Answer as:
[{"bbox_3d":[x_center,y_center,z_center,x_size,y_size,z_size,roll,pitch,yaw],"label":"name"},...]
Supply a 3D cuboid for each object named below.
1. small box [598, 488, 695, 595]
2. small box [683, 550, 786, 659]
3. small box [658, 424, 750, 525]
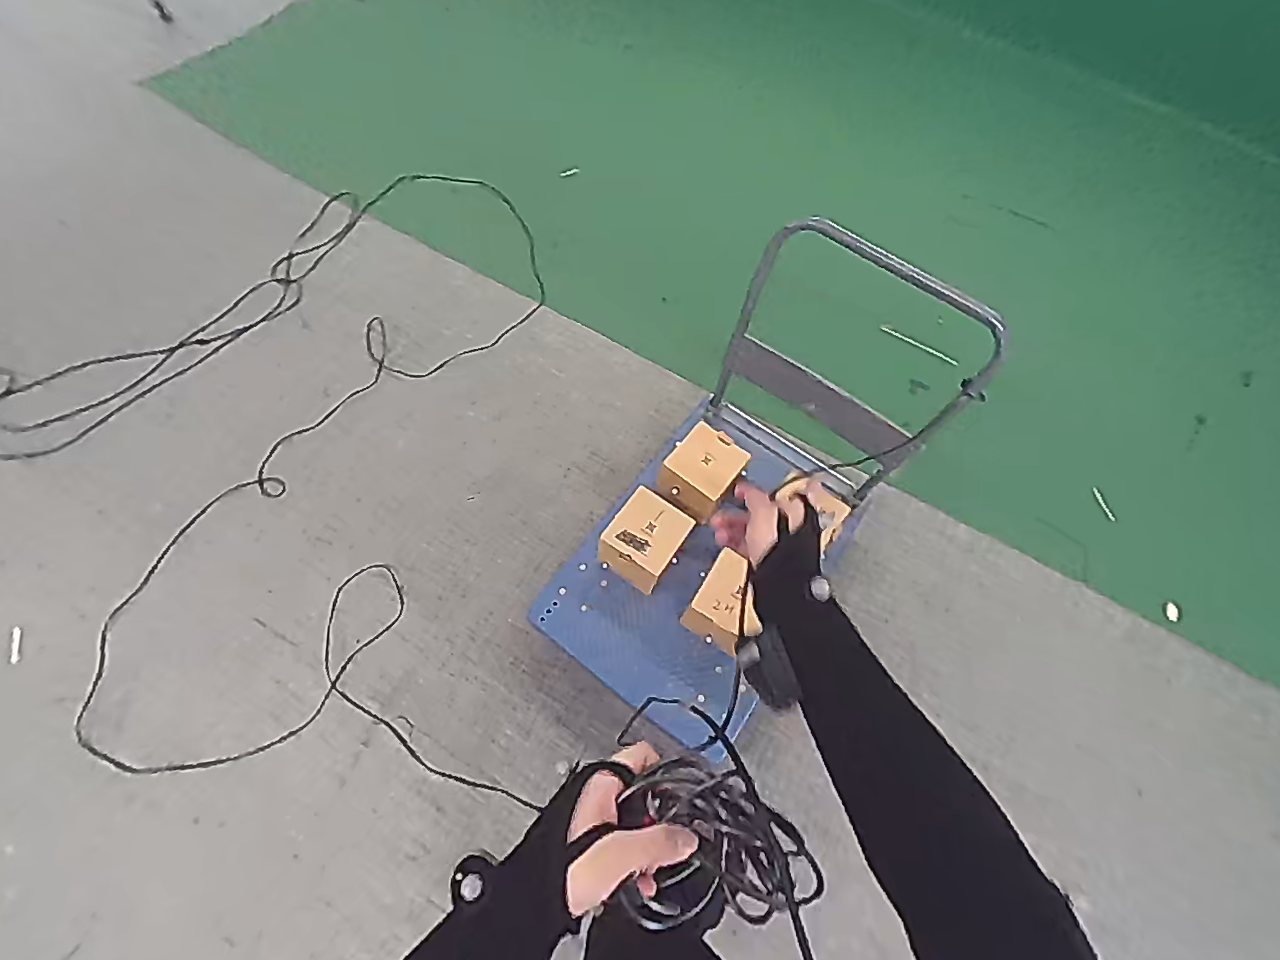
[{"bbox_3d":[0.011,0.159,1.340,0.168,0.176,0.179,34,64,10],"label":"small box"},{"bbox_3d":[0.217,0.301,1.292,0.168,0.176,0.179,31,64,10],"label":"small box"},{"bbox_3d":[0.163,-0.009,1.443,0.168,0.176,0.179,37,64,12],"label":"small box"}]
